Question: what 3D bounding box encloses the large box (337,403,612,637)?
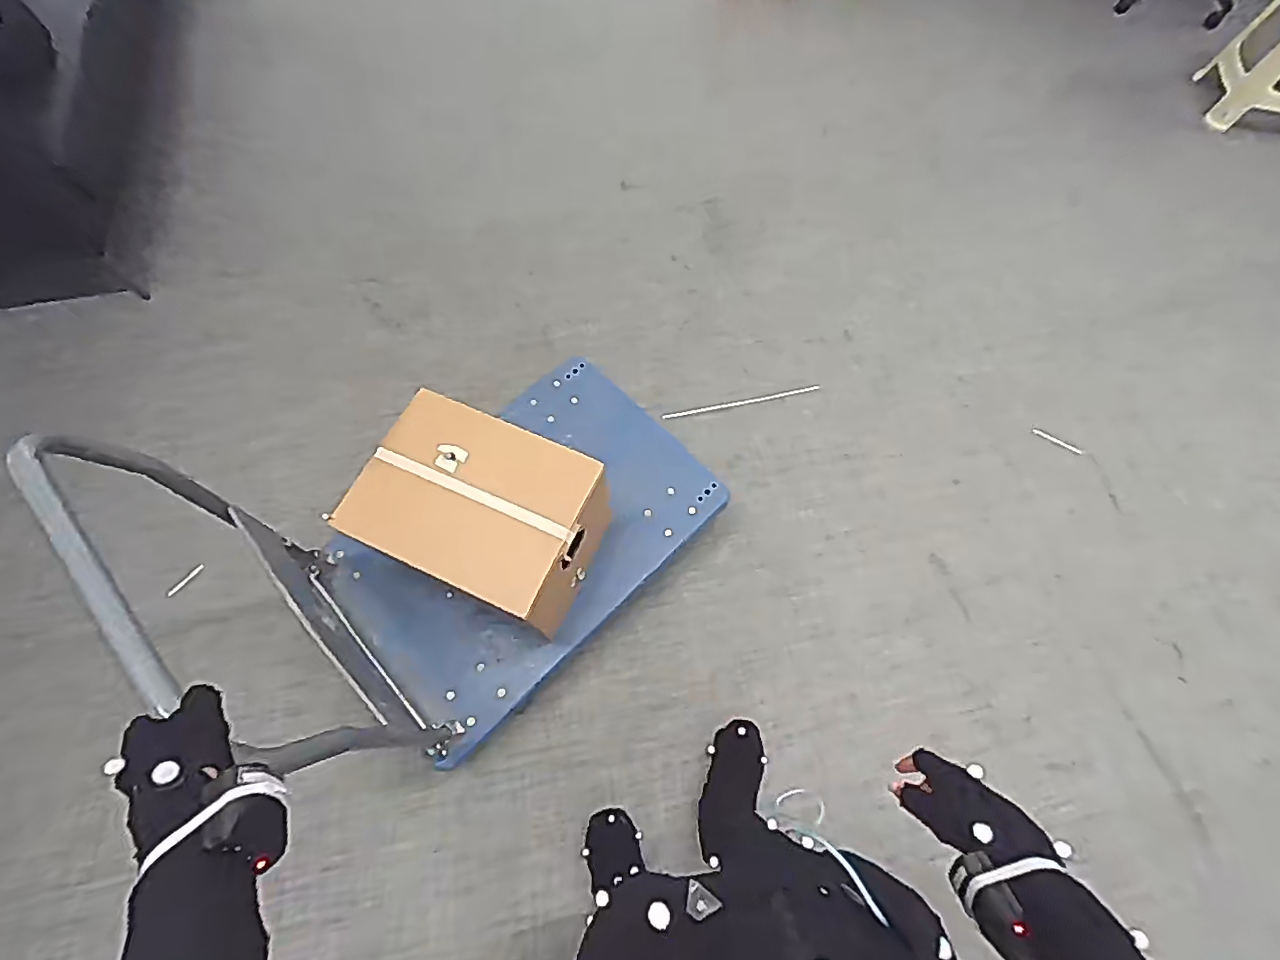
[{"bbox_3d":[-0.304,0.098,1.131,0.408,0.320,0.320,21,68,10],"label":"large box"}]
